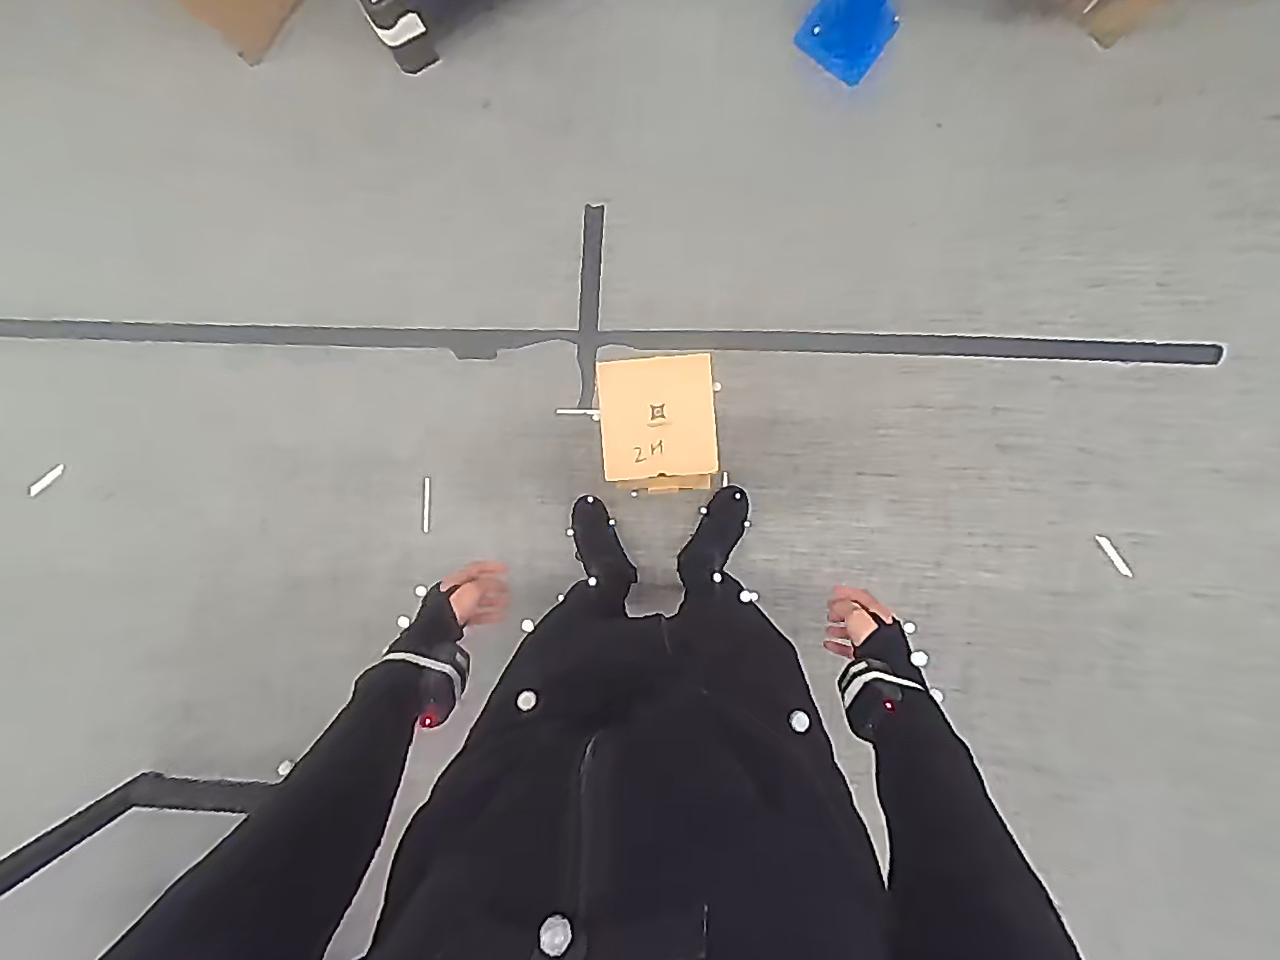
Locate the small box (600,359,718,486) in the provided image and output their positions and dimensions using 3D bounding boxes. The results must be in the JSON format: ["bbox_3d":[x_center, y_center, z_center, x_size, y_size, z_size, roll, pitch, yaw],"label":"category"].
[{"bbox_3d":[0.030,-0.085,0.857,0.168,0.176,0.179,-4,93,3],"label":"small box"}]
